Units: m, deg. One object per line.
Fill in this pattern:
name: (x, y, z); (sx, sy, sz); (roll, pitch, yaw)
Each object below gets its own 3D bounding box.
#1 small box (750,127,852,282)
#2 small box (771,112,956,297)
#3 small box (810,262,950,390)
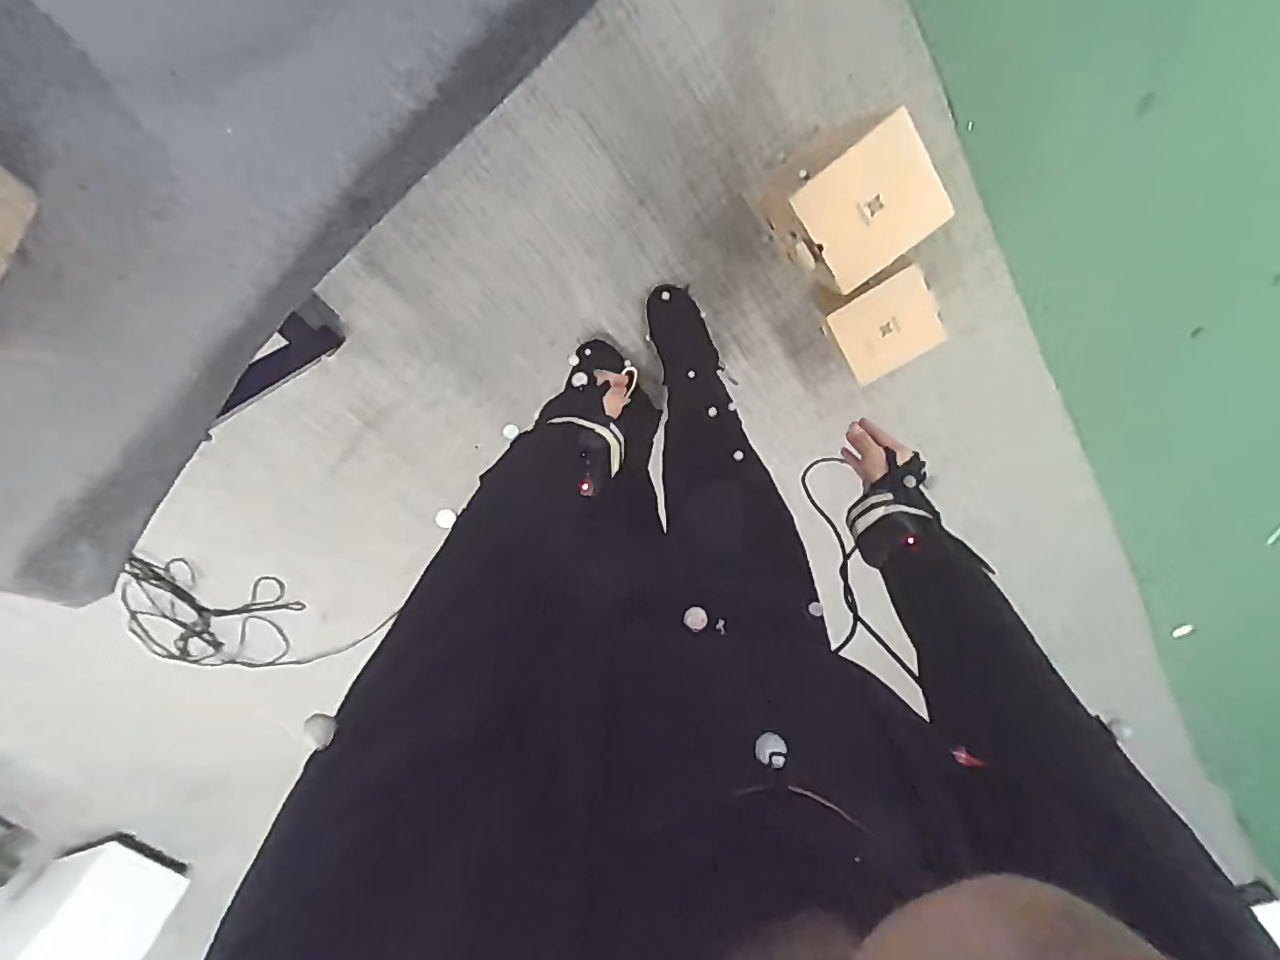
small box: (0.311, -0.485, 0.962); (0.179, 0.176, 0.168); (-34, 112, 19)
small box: (0.323, -0.411, 0.814); (0.179, 0.176, 0.168); (-35, 114, 19)
small box: (0.461, -0.312, 1.059); (0.179, 0.176, 0.168); (-30, 114, 19)
